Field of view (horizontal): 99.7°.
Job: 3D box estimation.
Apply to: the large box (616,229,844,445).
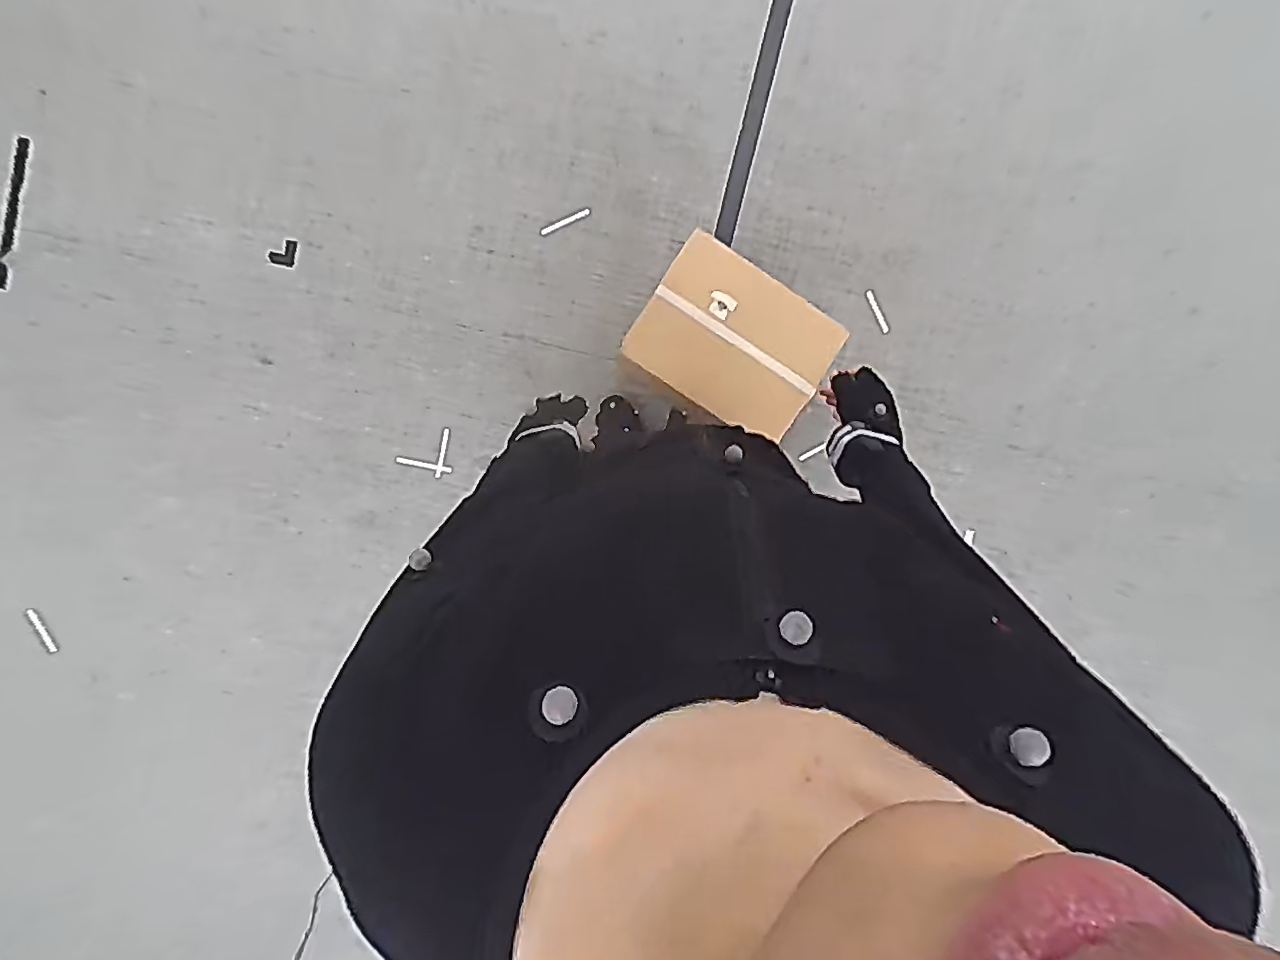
[{"bbox_3d":[0.196,-0.314,1.313,0.408,0.320,0.320,33,91,-2],"label":"large box"}]
